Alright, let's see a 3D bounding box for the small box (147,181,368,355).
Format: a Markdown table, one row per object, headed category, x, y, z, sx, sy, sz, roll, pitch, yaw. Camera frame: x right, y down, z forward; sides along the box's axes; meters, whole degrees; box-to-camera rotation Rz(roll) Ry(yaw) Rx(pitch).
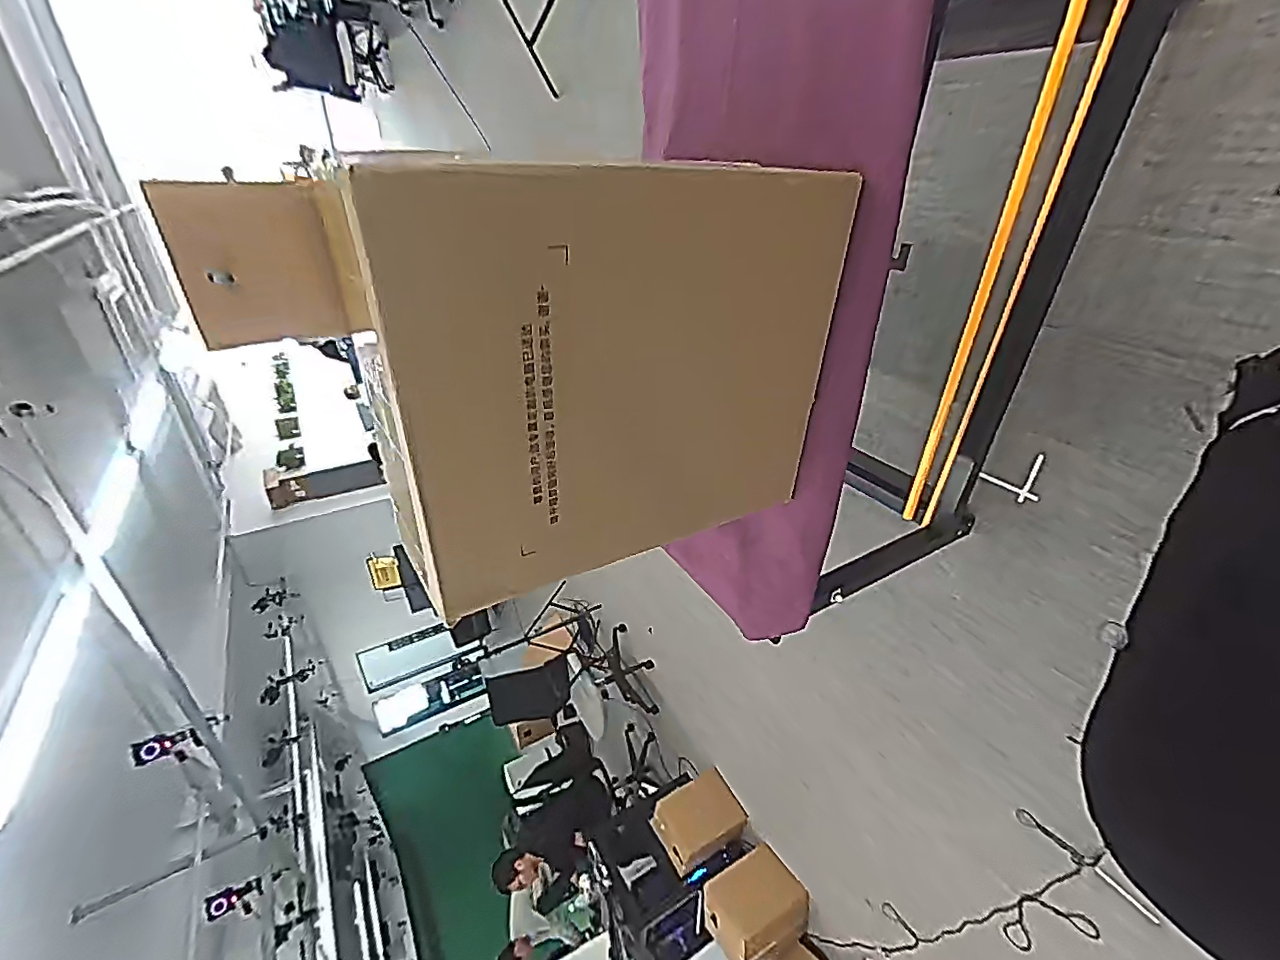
| category | x | y | z | sx | sy | sz | roll | pitch | yaw |
| --- | --- | --- | --- | --- | --- | --- | --- | --- | --- |
| small box | -0.459 | -0.272 | 0.673 | 0.168 | 0.176 | 0.179 | 38 | 138 | 50 |
